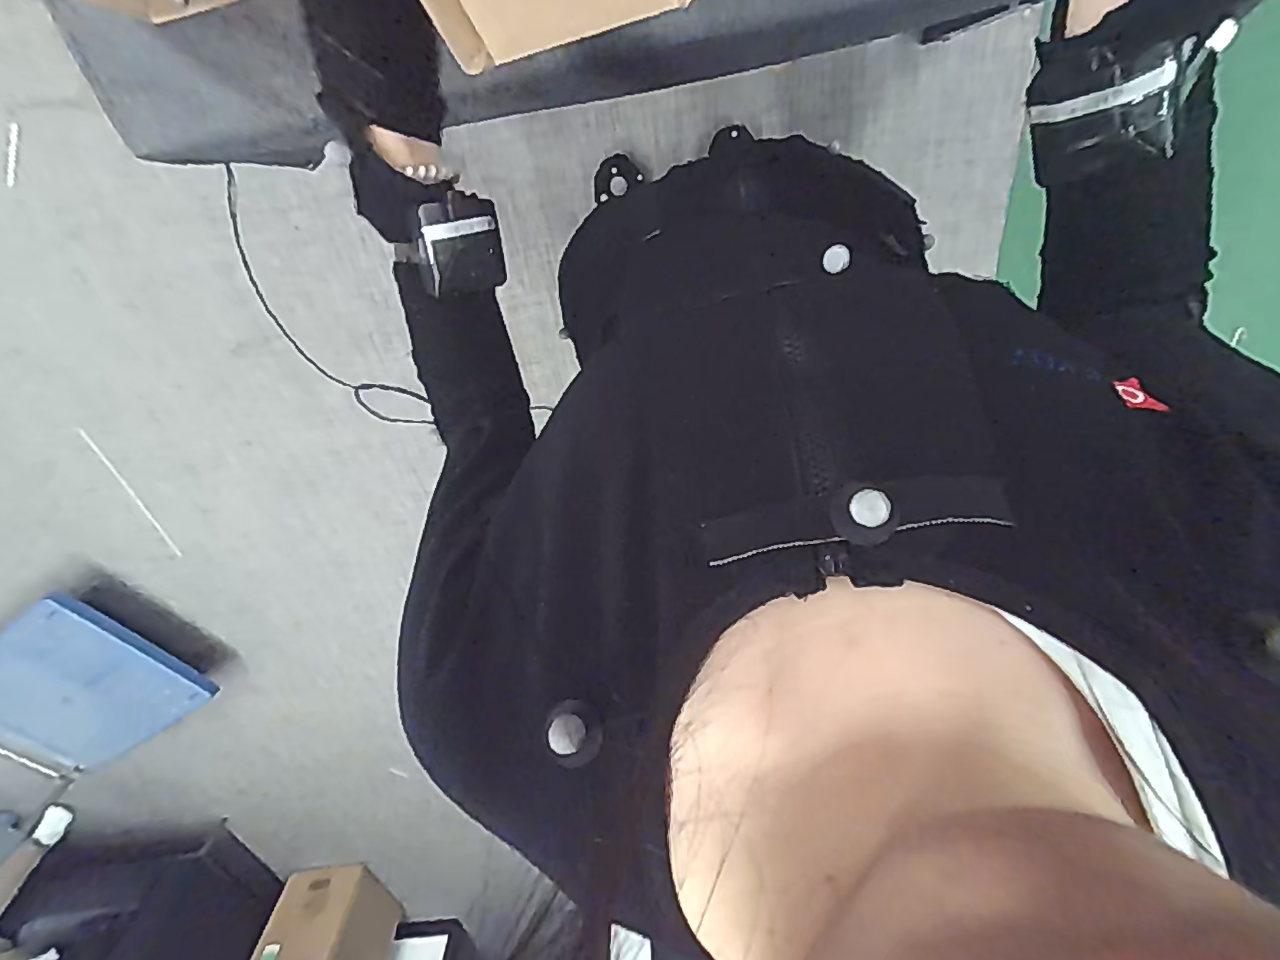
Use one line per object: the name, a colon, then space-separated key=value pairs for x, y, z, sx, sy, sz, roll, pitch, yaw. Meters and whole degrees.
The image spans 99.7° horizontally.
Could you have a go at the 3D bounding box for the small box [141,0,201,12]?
small box: x=-0.406 y=-0.491 z=0.397 sx=0.168 sy=0.176 sz=0.179 roll=-10 pitch=120 yaw=5
